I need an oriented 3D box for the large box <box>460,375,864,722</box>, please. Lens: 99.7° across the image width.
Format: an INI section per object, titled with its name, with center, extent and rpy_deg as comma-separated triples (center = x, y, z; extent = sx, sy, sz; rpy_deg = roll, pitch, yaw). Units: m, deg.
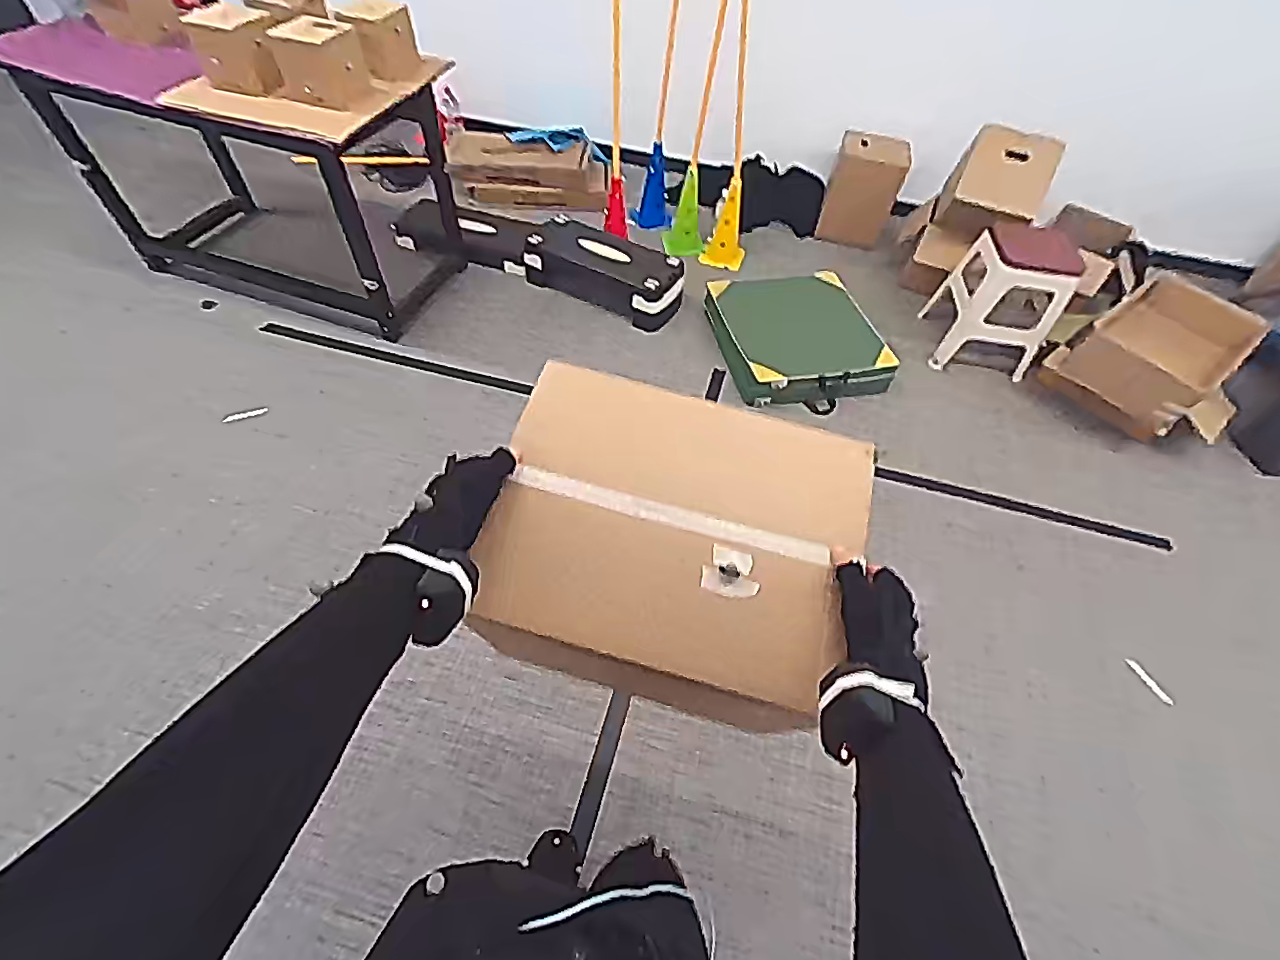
[large box]
center = 0.032, 0.111, 0.735
extent = 0.408, 0.320, 0.320
rpy_deg = 16, 65, 3
